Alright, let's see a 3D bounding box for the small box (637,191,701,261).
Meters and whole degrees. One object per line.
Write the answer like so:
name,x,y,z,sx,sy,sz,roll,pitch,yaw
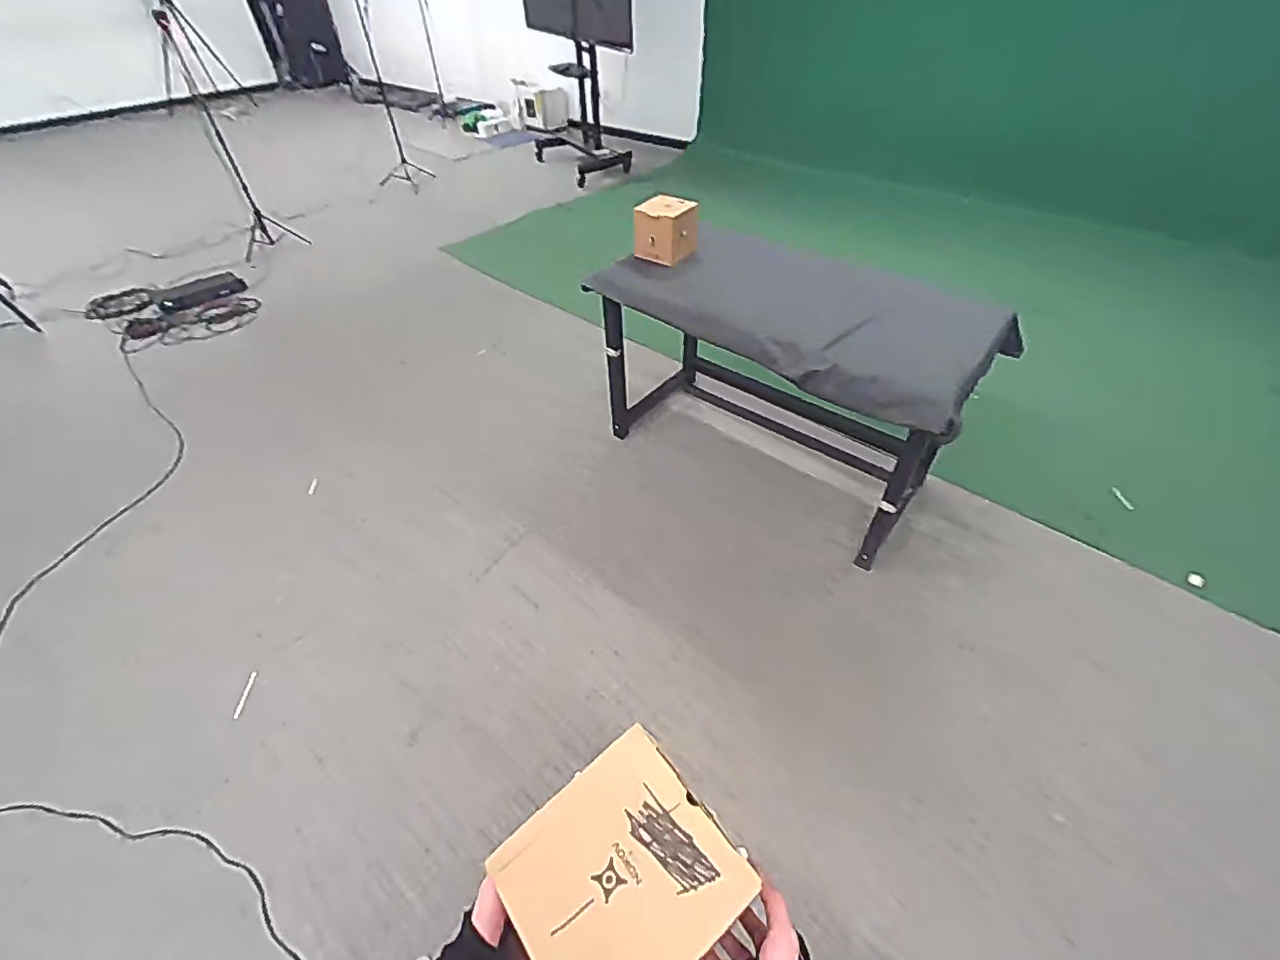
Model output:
small box,0.107,-0.913,1.946,0.168,0.176,0.179,27,53,25
